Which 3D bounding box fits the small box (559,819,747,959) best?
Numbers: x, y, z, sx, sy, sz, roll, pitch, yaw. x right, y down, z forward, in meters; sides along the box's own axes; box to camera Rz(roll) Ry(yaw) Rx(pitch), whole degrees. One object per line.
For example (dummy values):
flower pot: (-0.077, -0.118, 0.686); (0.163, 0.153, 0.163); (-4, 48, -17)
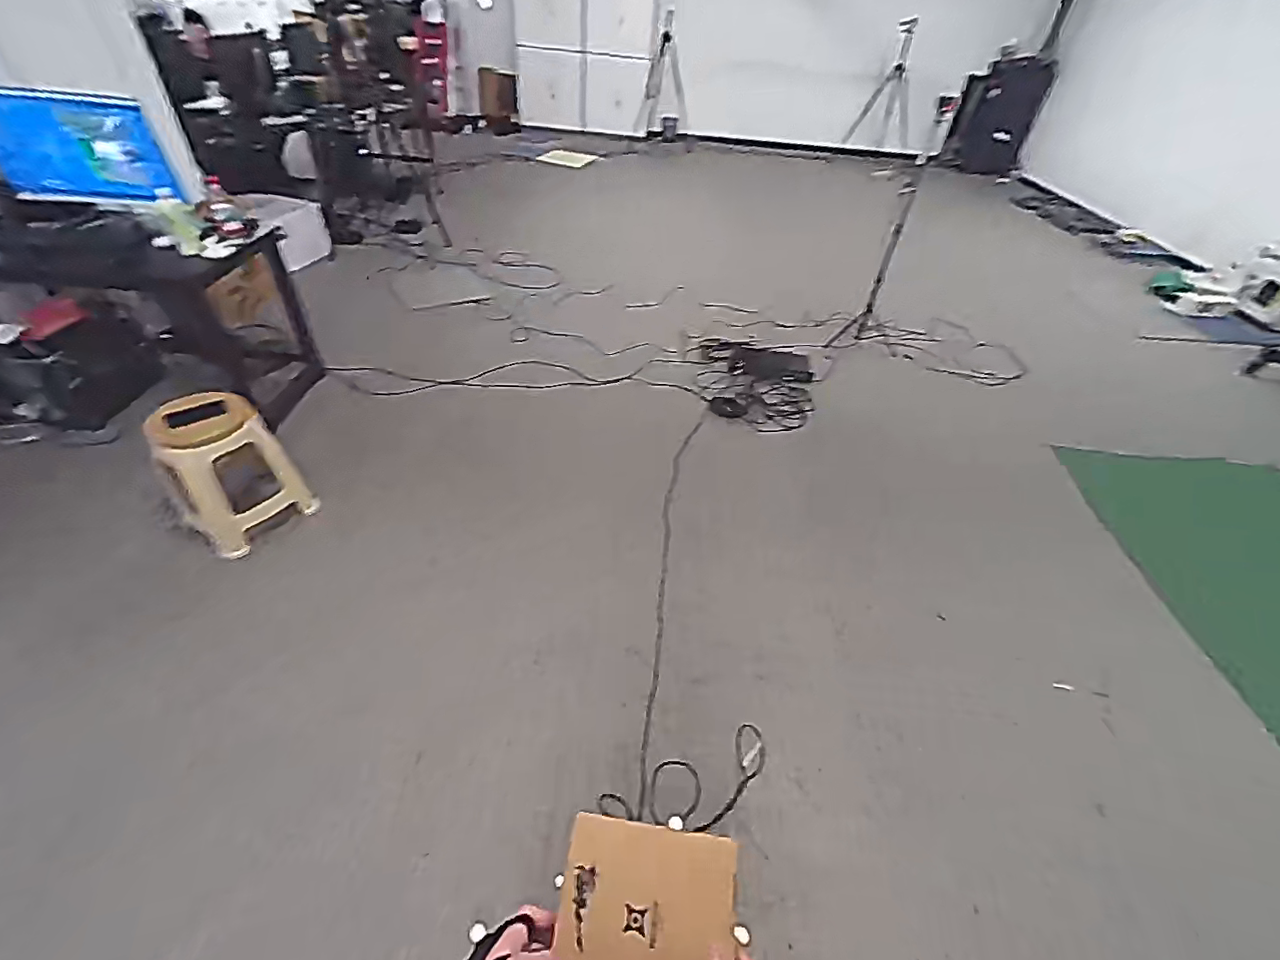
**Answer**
small box: (0.020, 0.485, 0.590); (0.179, 0.176, 0.168); (3, 54, 10)
